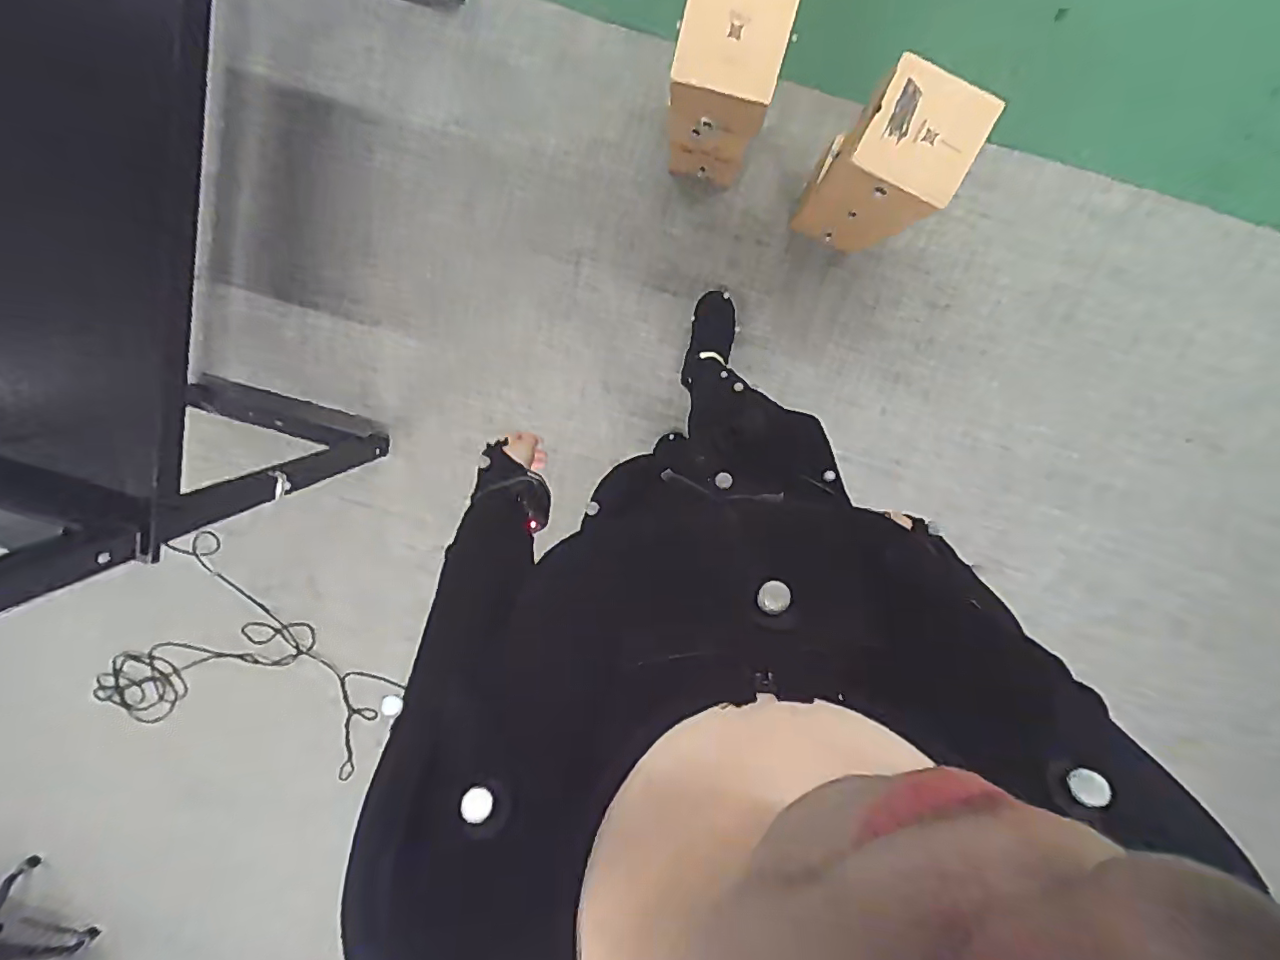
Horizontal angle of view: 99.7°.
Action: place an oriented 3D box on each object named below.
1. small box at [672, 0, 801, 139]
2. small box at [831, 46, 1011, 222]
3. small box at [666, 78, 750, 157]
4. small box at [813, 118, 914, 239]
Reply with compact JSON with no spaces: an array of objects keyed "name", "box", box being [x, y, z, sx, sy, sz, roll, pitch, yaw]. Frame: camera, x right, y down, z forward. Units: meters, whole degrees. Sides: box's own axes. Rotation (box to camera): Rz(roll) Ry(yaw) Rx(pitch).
[{"name":"small box","box":[0.152,-0.698,0.883,0.168,0.176,0.179,14,105,2]},{"name":"small box","box":[0.445,-0.553,0.895,0.179,0.176,0.168,25,105,-3]},{"name":"small box","box":[0.156,-0.754,1.037,0.168,0.176,0.179,16,104,0]},{"name":"small box","box":[0.464,-0.593,1.053,0.179,0.176,0.168,27,106,-3]}]
